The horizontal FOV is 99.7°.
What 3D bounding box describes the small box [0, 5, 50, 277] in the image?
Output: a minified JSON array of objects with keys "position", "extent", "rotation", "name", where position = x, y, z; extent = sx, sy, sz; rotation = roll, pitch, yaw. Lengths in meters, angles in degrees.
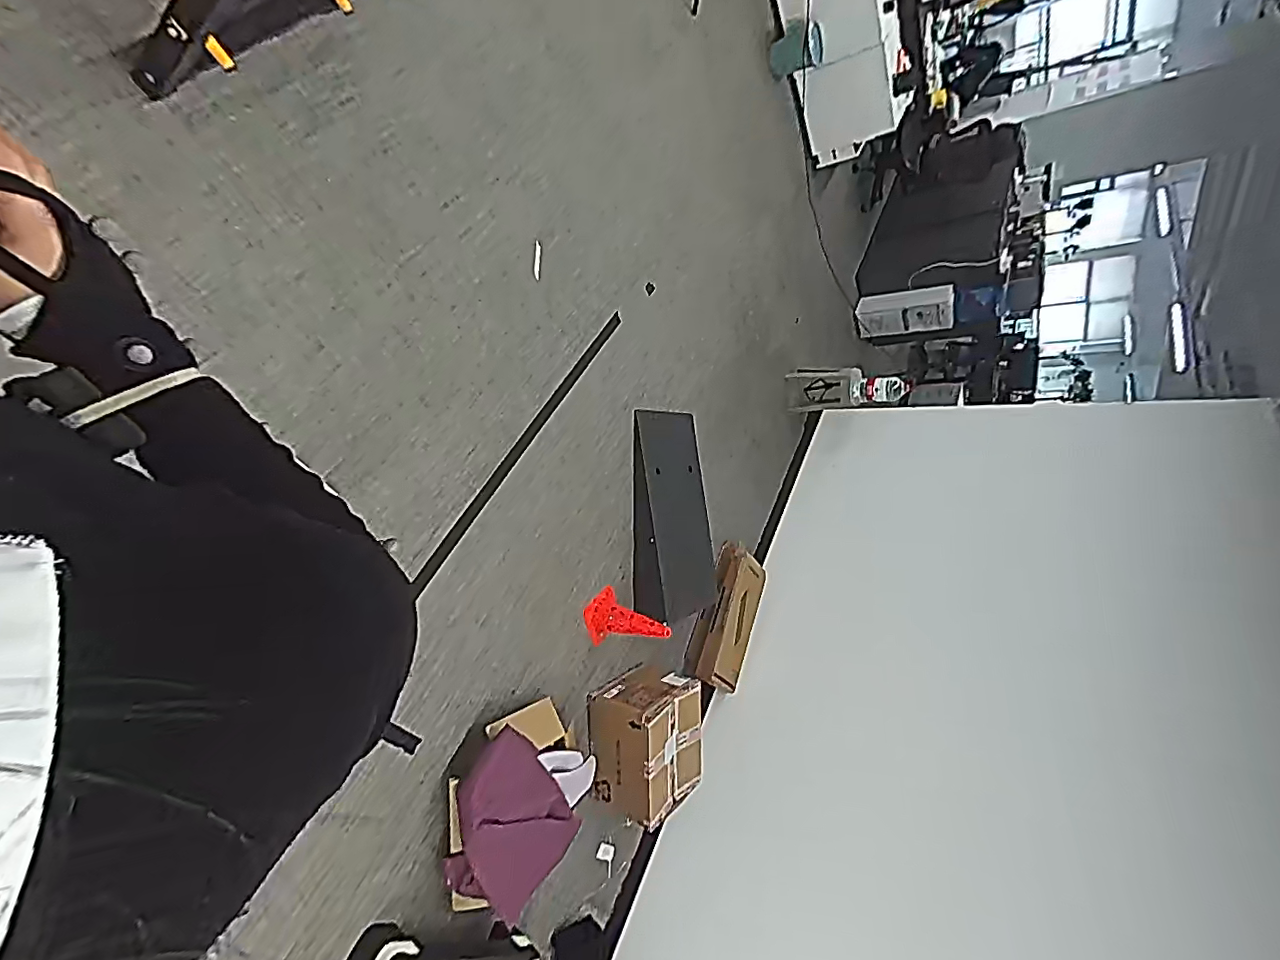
[{"position":[-0.391,-0.182,0.224],"extent":[0.179,0.176,0.168],"rotation":[-15,111,-48],"name":"small box"}]
